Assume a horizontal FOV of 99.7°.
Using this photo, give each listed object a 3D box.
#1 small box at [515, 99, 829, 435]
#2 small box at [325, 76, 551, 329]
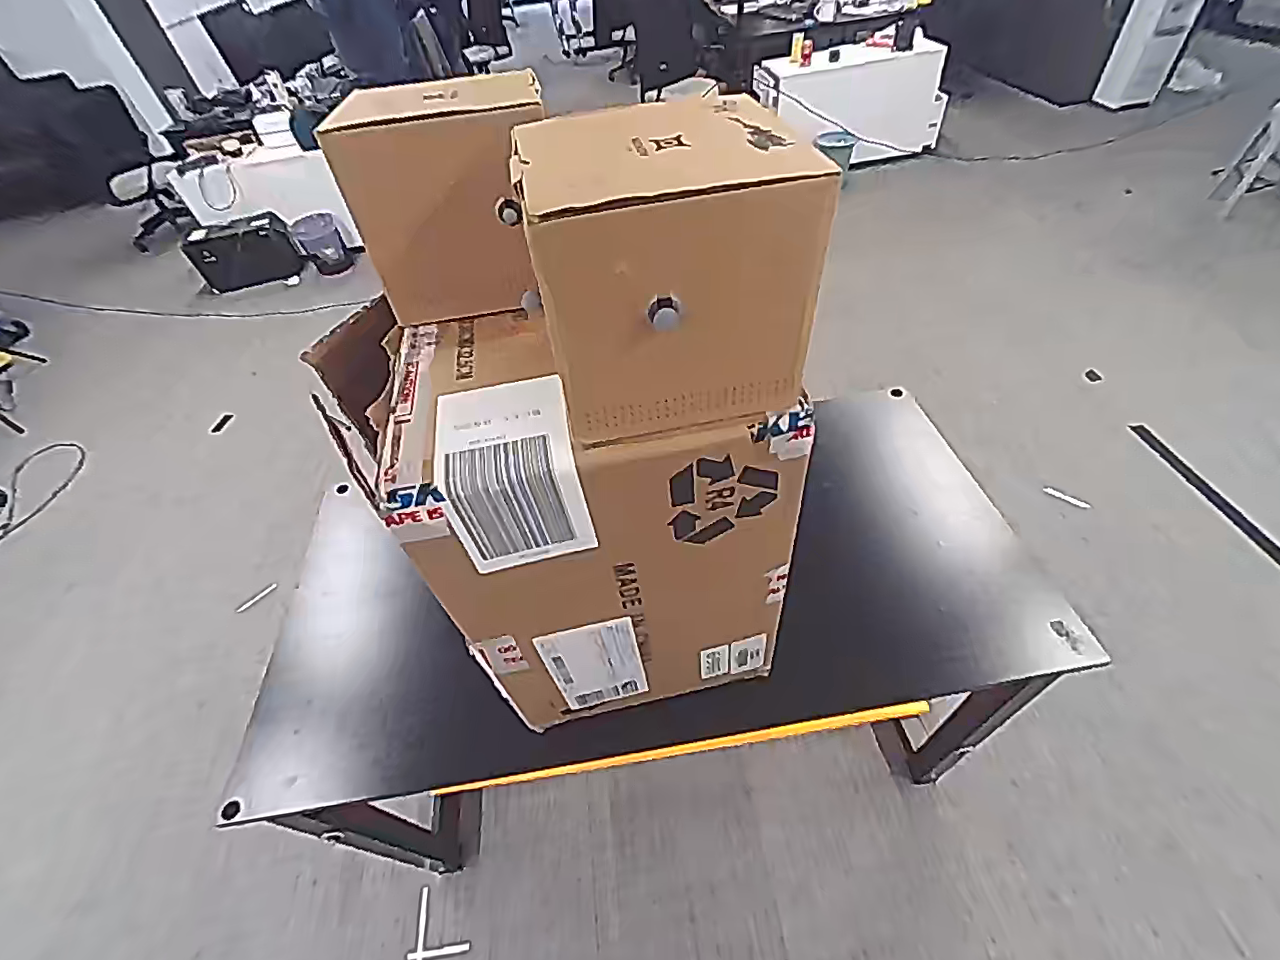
[{"bbox_3d":[0.016,-0.153,0.406,0.179,0.176,0.168,-12,50,-4],"label":"small box"},{"bbox_3d":[-0.167,-0.273,0.536,0.179,0.176,0.168,-12,45,-4],"label":"small box"}]
